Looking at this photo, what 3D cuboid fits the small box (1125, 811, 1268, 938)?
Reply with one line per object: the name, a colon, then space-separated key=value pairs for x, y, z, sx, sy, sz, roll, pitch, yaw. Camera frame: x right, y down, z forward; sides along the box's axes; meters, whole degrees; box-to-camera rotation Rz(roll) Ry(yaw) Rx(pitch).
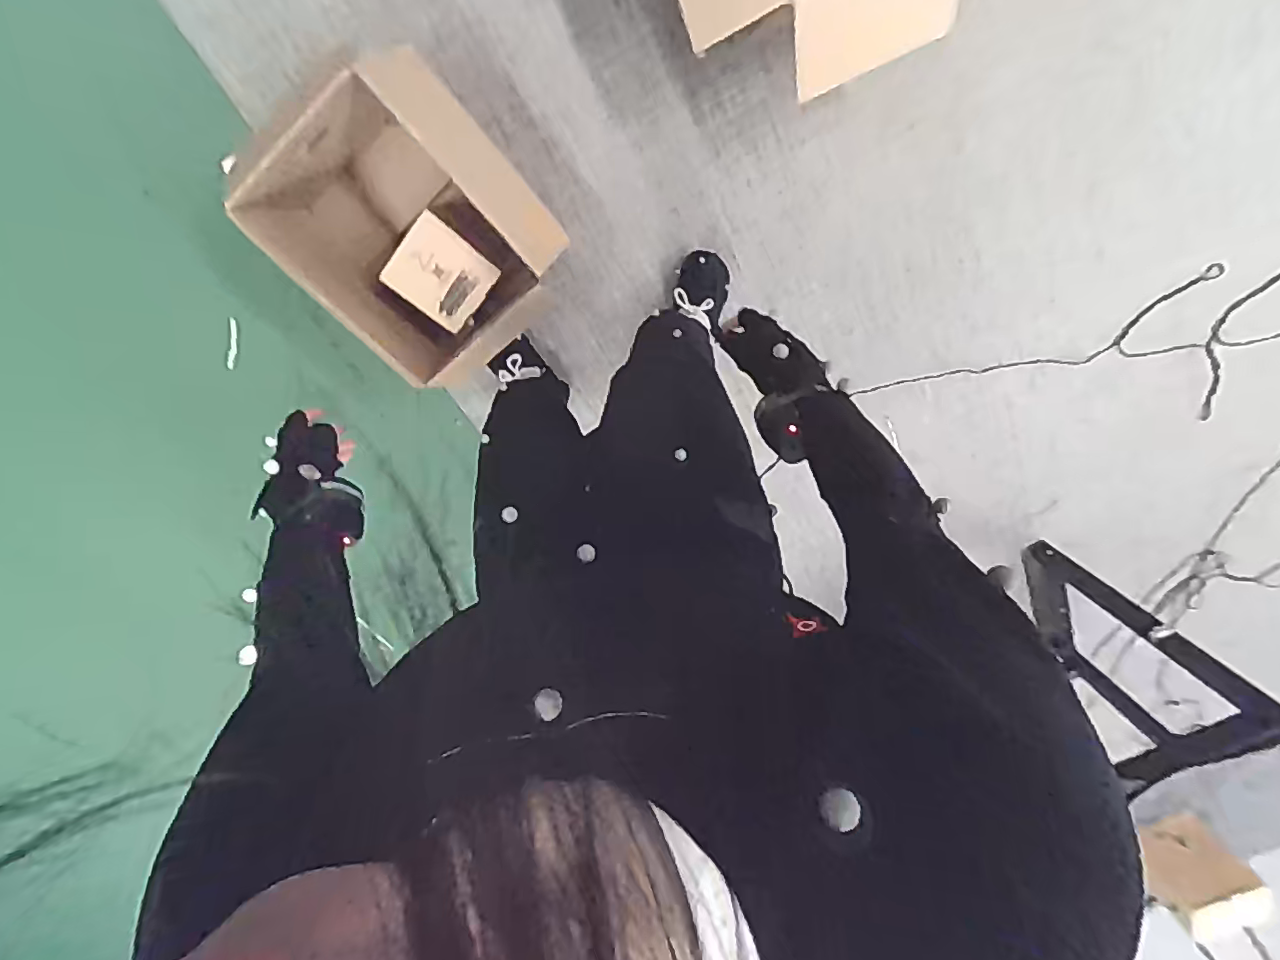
small box: x=1.297 y=0.922 z=1.271 sx=0.168 sy=0.176 sz=0.179 roll=-29 pitch=117 yaw=8
